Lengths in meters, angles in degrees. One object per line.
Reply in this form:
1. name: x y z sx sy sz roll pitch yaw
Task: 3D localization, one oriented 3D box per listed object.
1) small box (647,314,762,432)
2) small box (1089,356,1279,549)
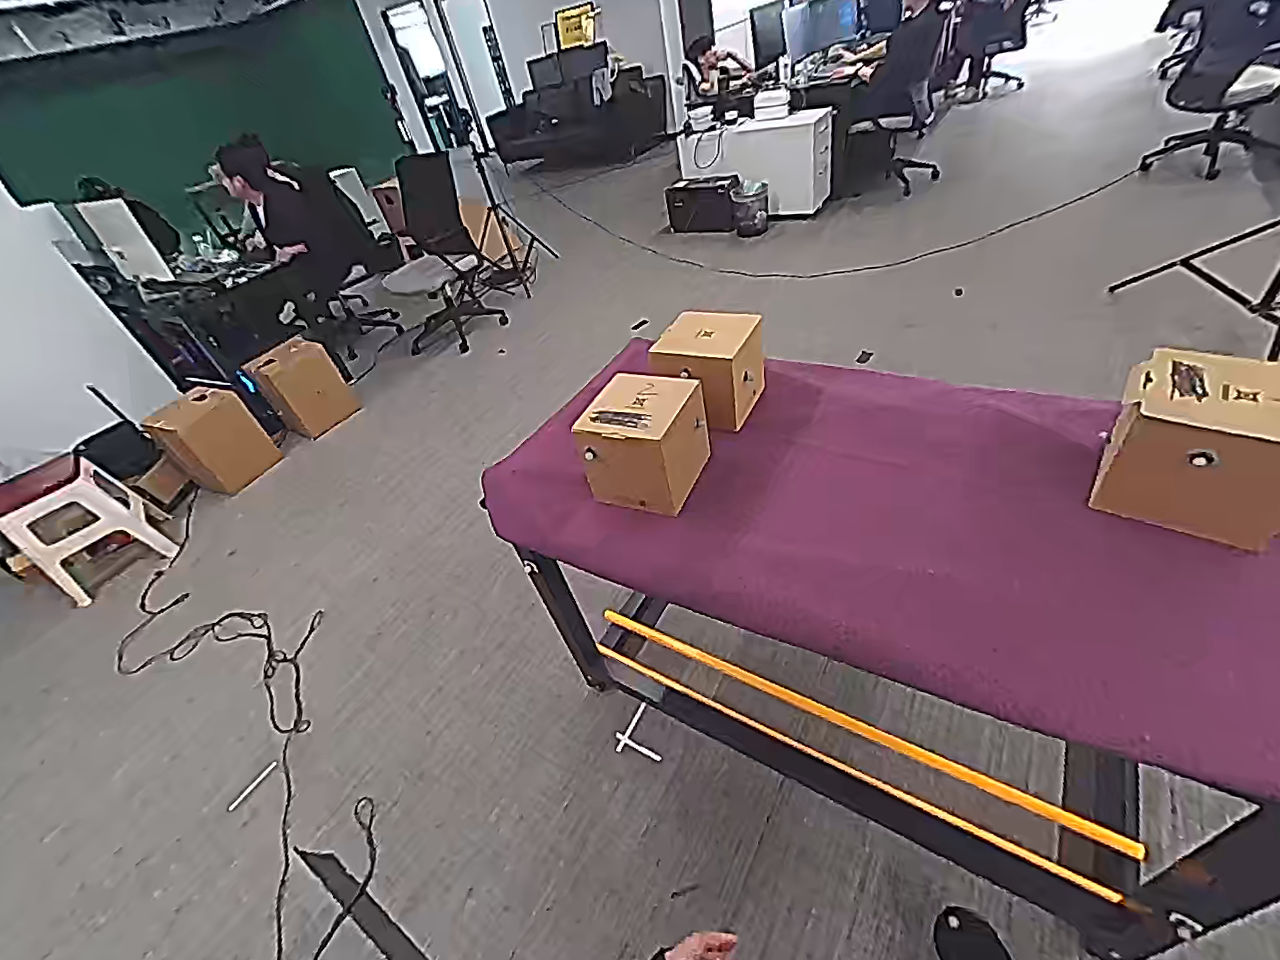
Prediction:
1. small box: 0.140 -0.216 1.093 0.179 0.176 0.168 12 47 28
2. small box: 0.735 -0.037 0.712 0.179 0.176 0.168 22 54 33
